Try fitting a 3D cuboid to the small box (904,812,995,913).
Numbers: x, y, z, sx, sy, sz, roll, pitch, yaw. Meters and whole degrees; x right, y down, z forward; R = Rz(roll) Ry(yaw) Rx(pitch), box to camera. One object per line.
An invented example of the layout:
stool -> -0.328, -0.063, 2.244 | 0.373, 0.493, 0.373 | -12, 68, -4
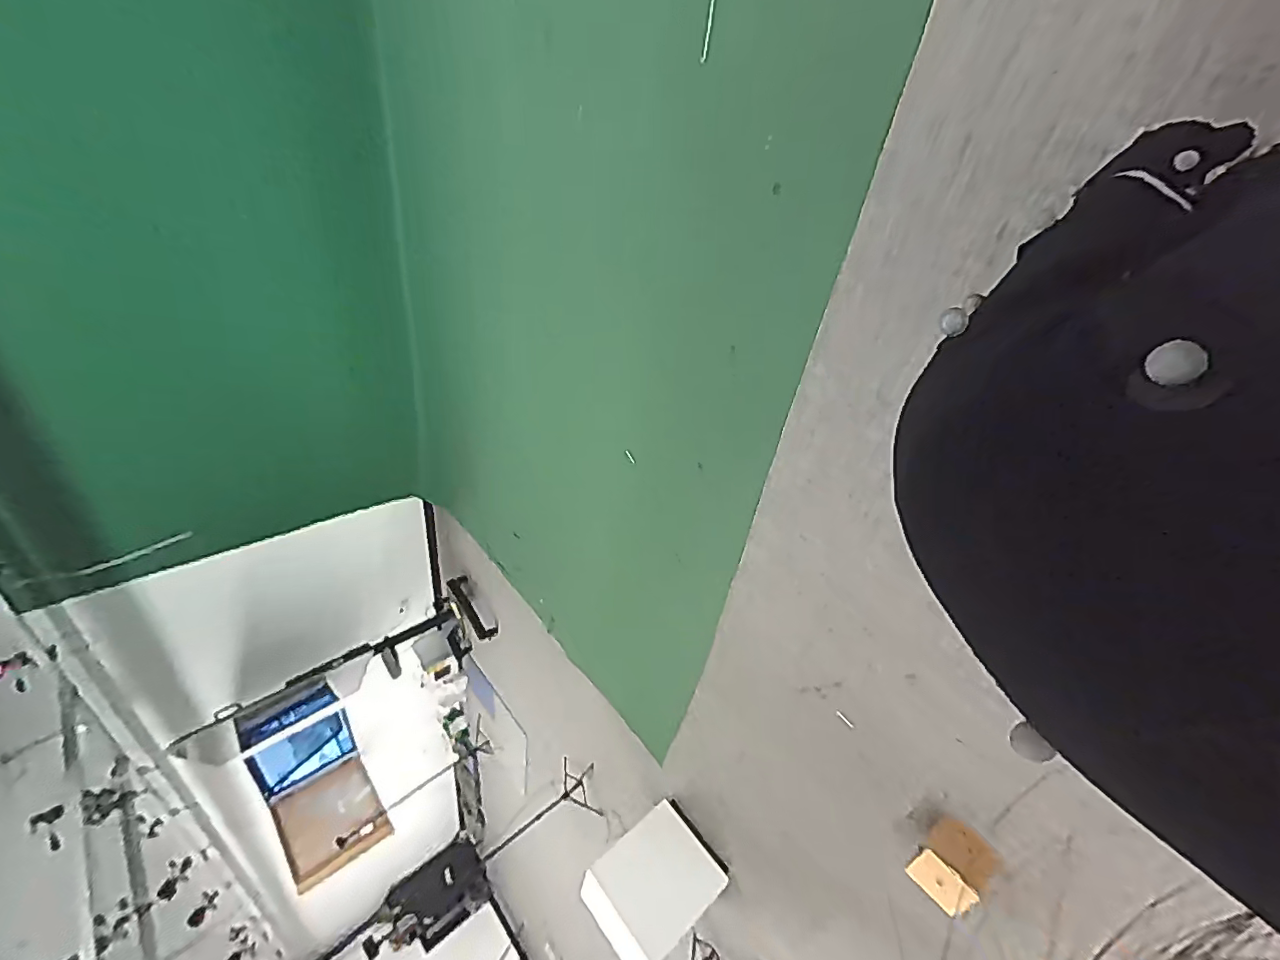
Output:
small box -> 0.982, 1.205, 1.711 | 0.168, 0.176, 0.179 | 38, 133, 34
